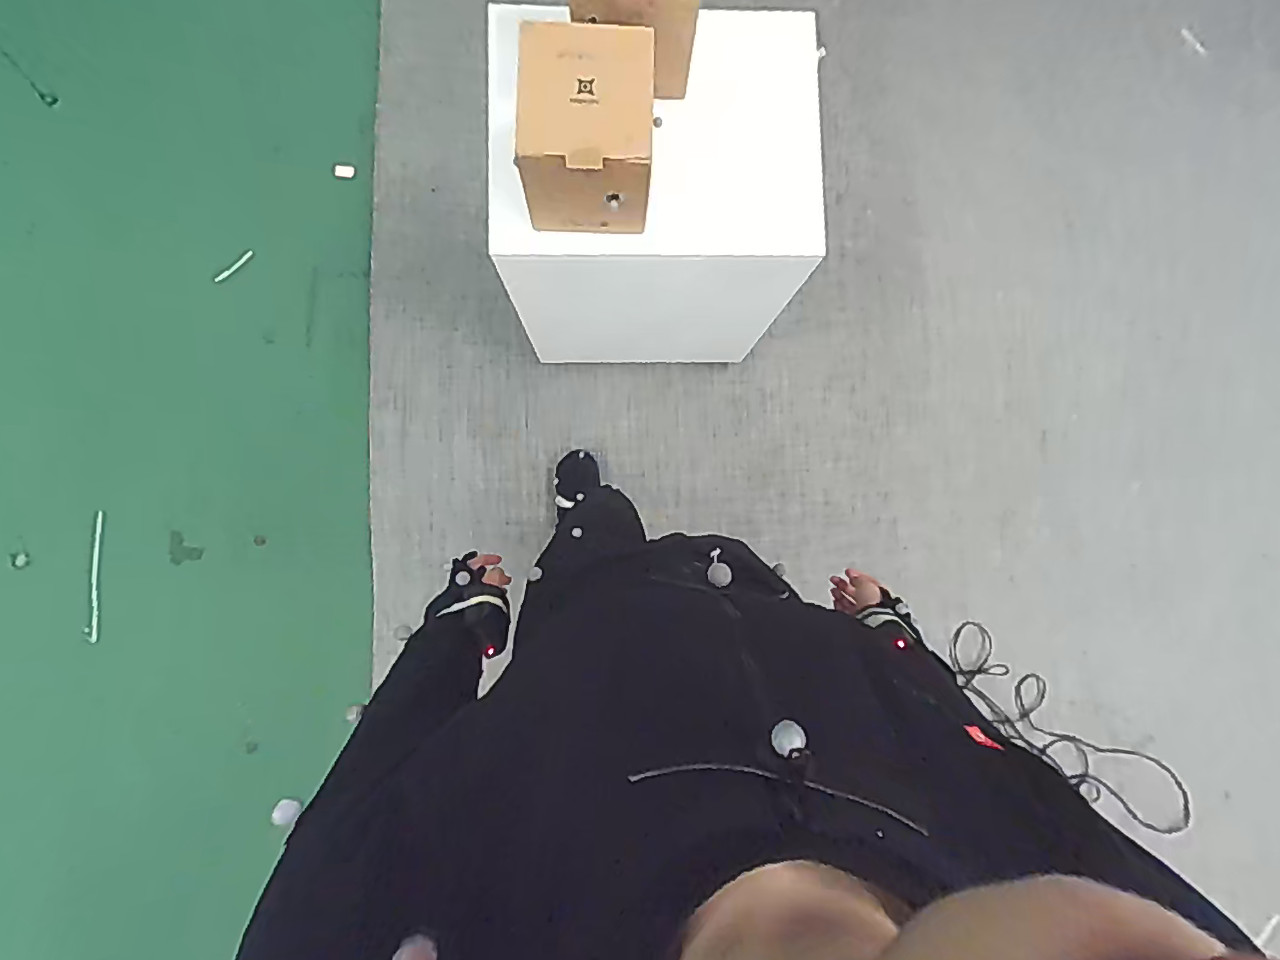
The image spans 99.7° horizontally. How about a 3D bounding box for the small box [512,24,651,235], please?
[{"bbox_3d":[-0.074,-0.454,0.726,0.168,0.176,0.179,0,84,-4],"label":"small box"}]
